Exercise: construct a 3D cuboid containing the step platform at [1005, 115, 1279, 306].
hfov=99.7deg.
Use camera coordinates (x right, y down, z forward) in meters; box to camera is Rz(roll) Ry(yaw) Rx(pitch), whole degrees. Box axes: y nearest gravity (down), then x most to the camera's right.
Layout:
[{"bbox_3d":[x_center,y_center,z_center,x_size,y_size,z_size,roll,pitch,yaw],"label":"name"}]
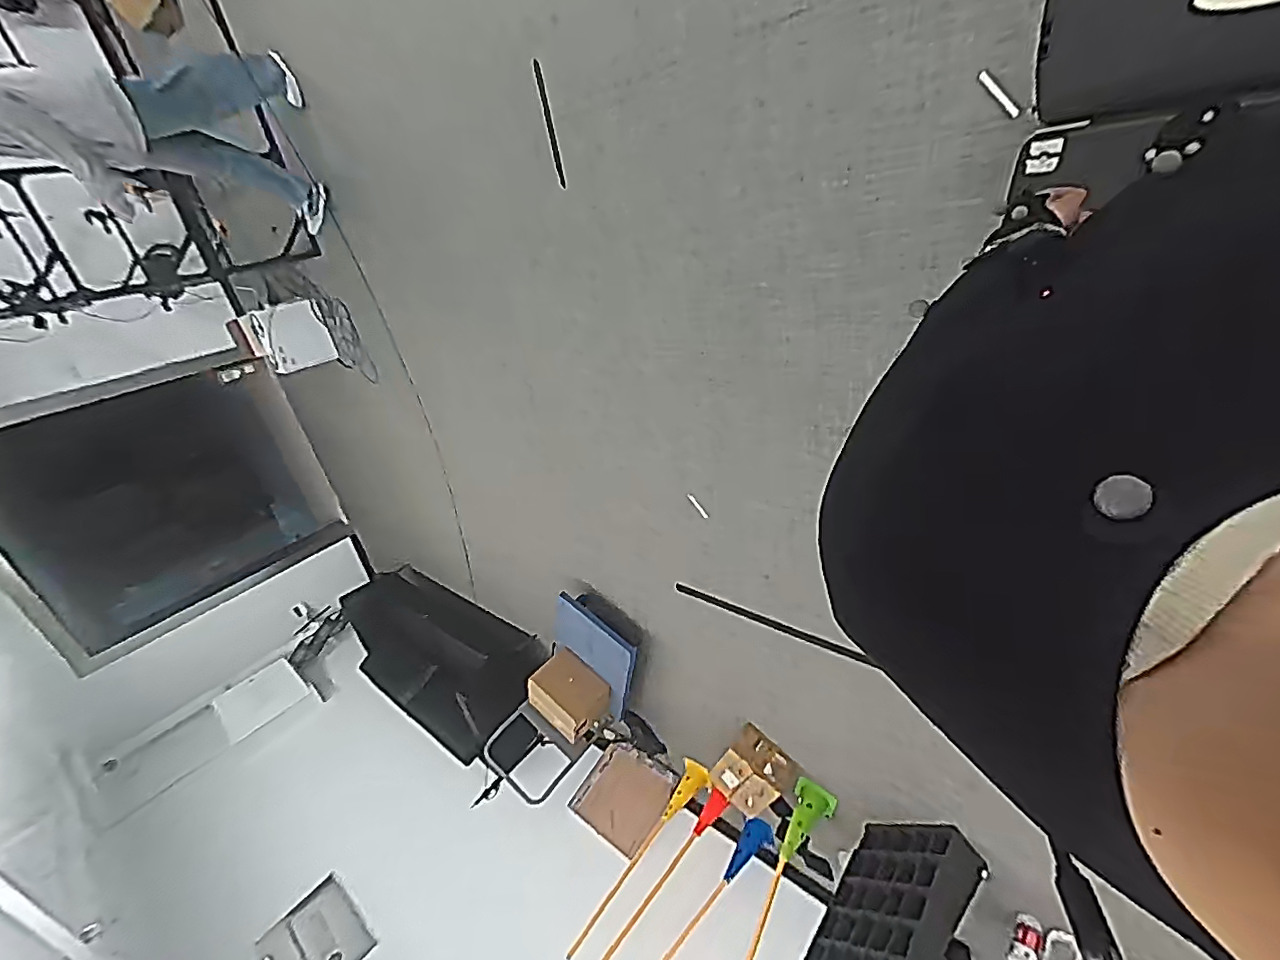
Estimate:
[{"bbox_3d":[1.044,-0.461,0.928,0.684,0.204,0.286,20,128,38],"label":"step platform"}]
